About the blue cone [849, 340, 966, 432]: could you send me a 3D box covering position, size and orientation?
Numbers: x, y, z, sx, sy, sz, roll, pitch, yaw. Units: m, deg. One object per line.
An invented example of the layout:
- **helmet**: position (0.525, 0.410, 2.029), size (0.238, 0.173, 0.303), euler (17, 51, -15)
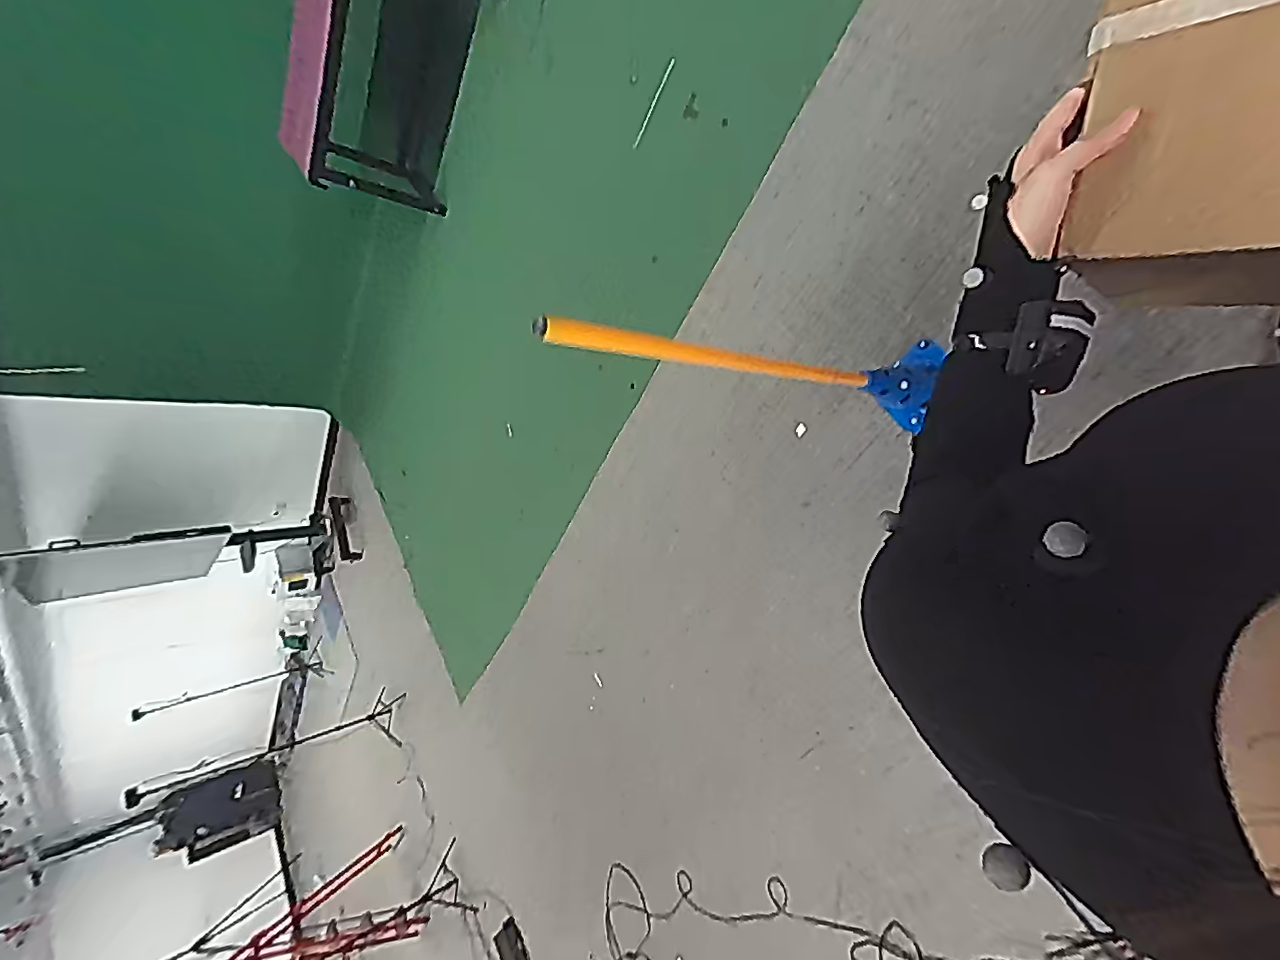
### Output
- **blue cone**: position (0.610, -0.238, 1.306), size (0.193, 0.380, 0.192), euler (-49, 58, 35)

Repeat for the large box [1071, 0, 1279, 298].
- **large box**: position (0.587, -0.312, 0.364), size (0.408, 0.320, 0.320), euler (15, 107, 43)
